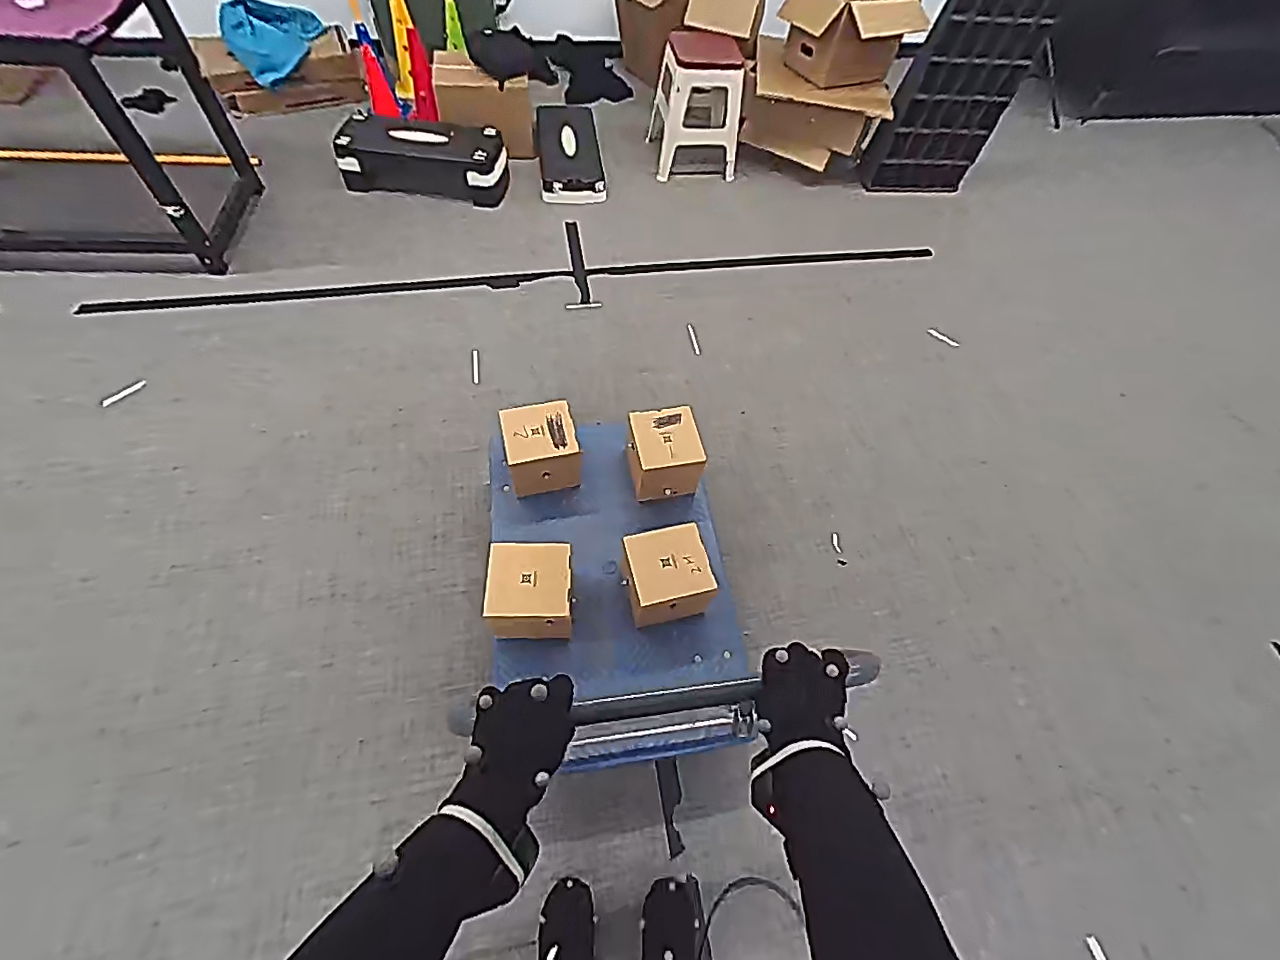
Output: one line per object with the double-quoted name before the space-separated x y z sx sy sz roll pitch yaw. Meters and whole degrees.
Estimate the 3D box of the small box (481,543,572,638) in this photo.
"small box" -0.245 0.250 1.205 0.179 0.176 0.168 1 59 -6

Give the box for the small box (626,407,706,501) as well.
"small box" 0.060 -0.068 1.419 0.168 0.176 0.179 -8 62 -10

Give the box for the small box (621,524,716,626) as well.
"small box" 0.056 0.223 1.248 0.179 0.176 0.168 -10 61 -11
